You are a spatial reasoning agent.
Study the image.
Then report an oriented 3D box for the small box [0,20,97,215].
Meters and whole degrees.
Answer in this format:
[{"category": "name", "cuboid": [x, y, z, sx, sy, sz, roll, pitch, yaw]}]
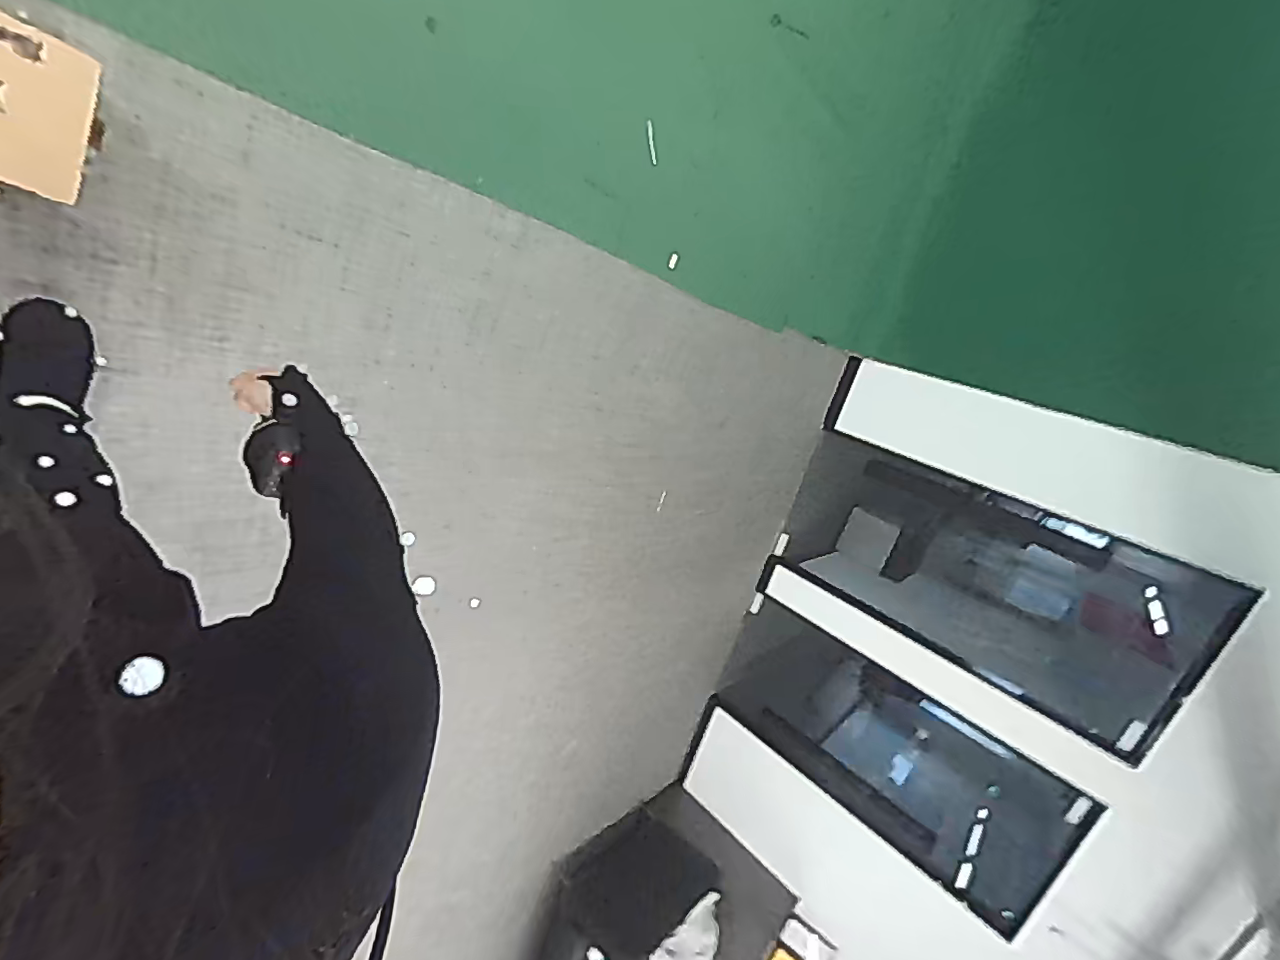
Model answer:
[{"category": "small box", "cuboid": [-0.768, -0.441, 0.630, 0.168, 0.176, 0.179, 10, 106, -51]}]
